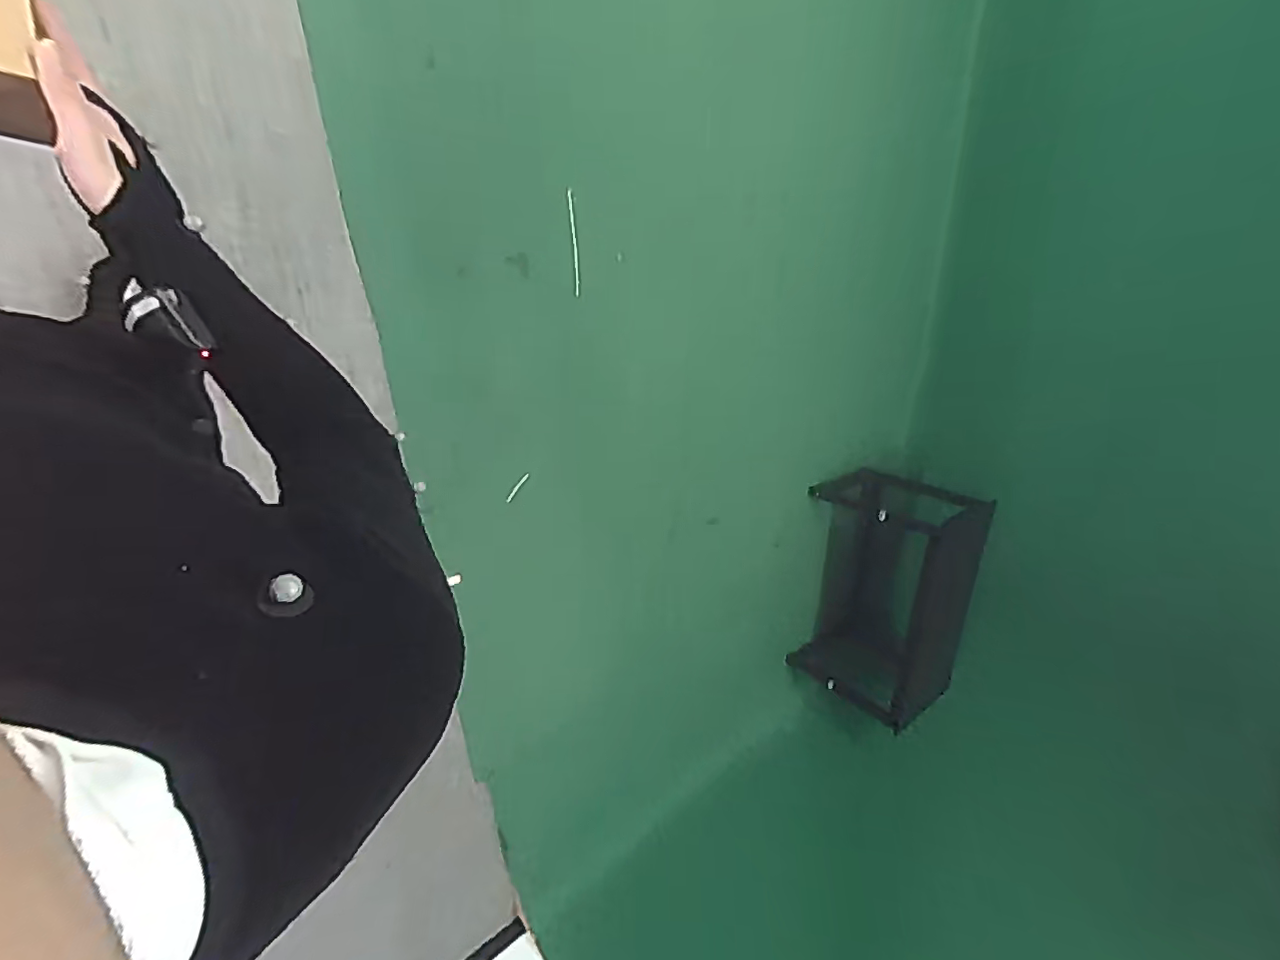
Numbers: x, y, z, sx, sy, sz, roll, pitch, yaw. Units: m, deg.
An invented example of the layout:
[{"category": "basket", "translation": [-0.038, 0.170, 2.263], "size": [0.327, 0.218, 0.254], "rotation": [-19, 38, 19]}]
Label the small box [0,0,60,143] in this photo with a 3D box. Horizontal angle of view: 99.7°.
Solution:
[{"category": "small box", "translation": [-0.532, -0.370, 0.370], "size": [0.168, 0.176, 0.179], "rotation": [-9, 105, -43]}]
